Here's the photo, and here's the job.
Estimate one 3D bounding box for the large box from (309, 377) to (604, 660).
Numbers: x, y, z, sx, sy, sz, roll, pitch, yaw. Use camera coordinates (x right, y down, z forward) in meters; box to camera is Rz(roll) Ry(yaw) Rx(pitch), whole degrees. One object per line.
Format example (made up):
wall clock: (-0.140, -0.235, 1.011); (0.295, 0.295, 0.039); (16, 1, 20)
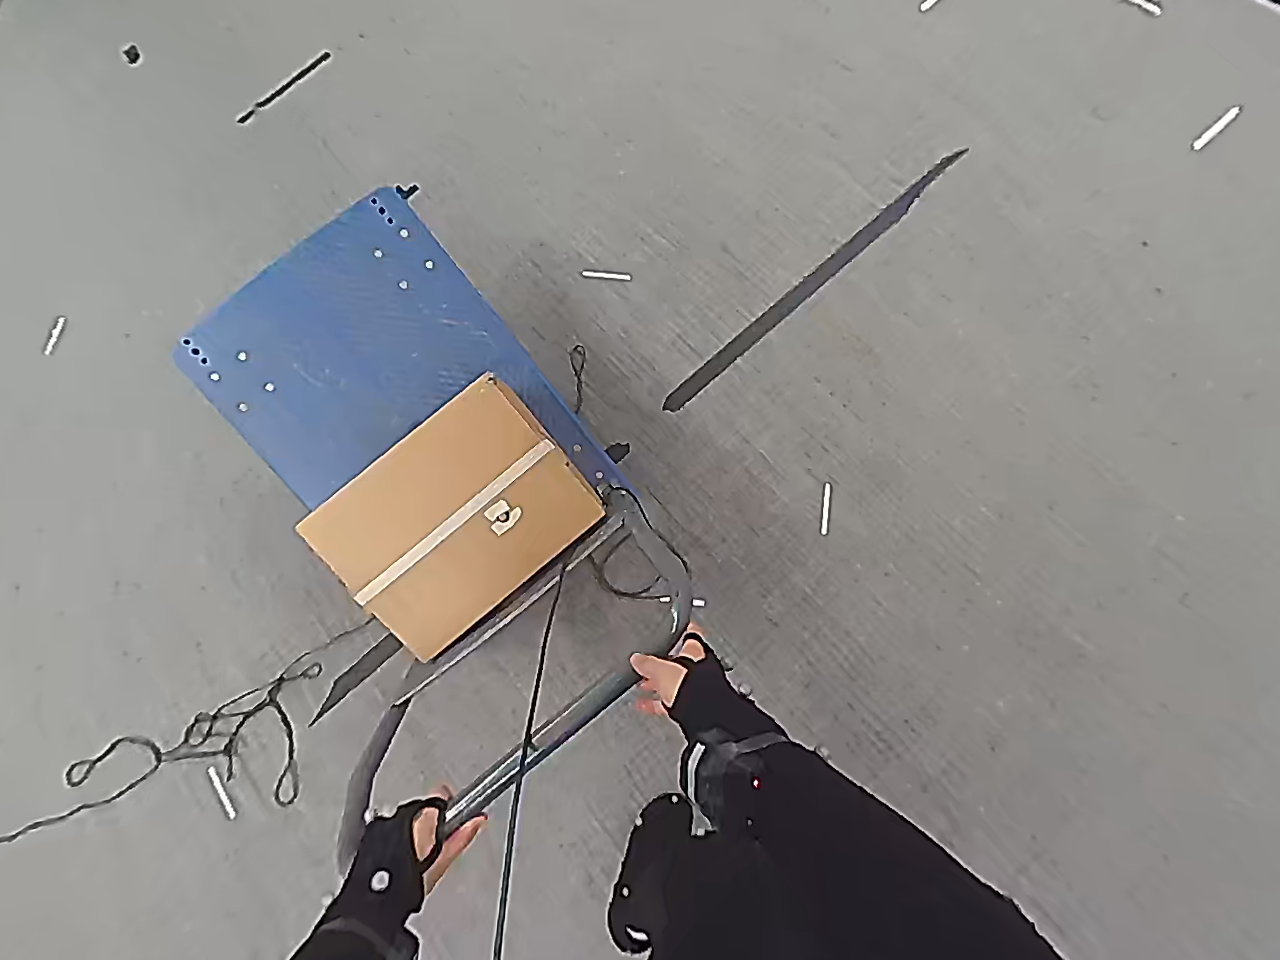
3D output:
large box: (-0.324, 0.062, 1.065); (0.408, 0.320, 0.320); (-41, 98, -4)
